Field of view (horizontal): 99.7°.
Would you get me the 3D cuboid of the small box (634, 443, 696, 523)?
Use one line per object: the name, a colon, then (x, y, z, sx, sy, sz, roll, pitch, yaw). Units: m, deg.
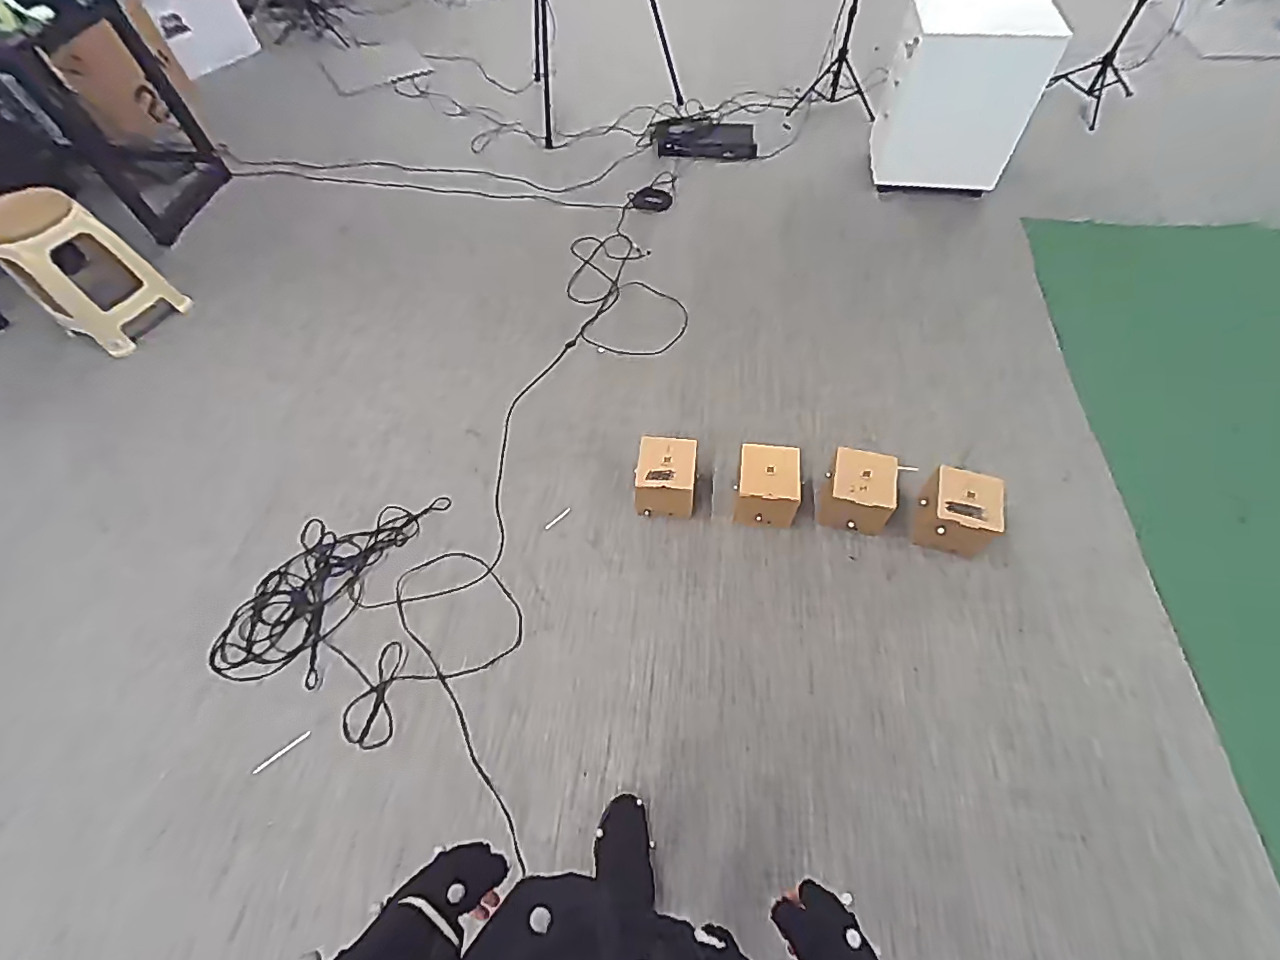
small box: (0.078, 0.014, 1.605, 0.168, 0.176, 0.179, 5, 57, 5)

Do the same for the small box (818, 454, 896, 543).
small box: (0.621, 0.055, 1.556, 0.168, 0.176, 0.179, 12, 59, 11)

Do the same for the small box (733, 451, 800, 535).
small box: (0.366, 0.039, 1.579, 0.168, 0.176, 0.179, 6, 58, 6)
